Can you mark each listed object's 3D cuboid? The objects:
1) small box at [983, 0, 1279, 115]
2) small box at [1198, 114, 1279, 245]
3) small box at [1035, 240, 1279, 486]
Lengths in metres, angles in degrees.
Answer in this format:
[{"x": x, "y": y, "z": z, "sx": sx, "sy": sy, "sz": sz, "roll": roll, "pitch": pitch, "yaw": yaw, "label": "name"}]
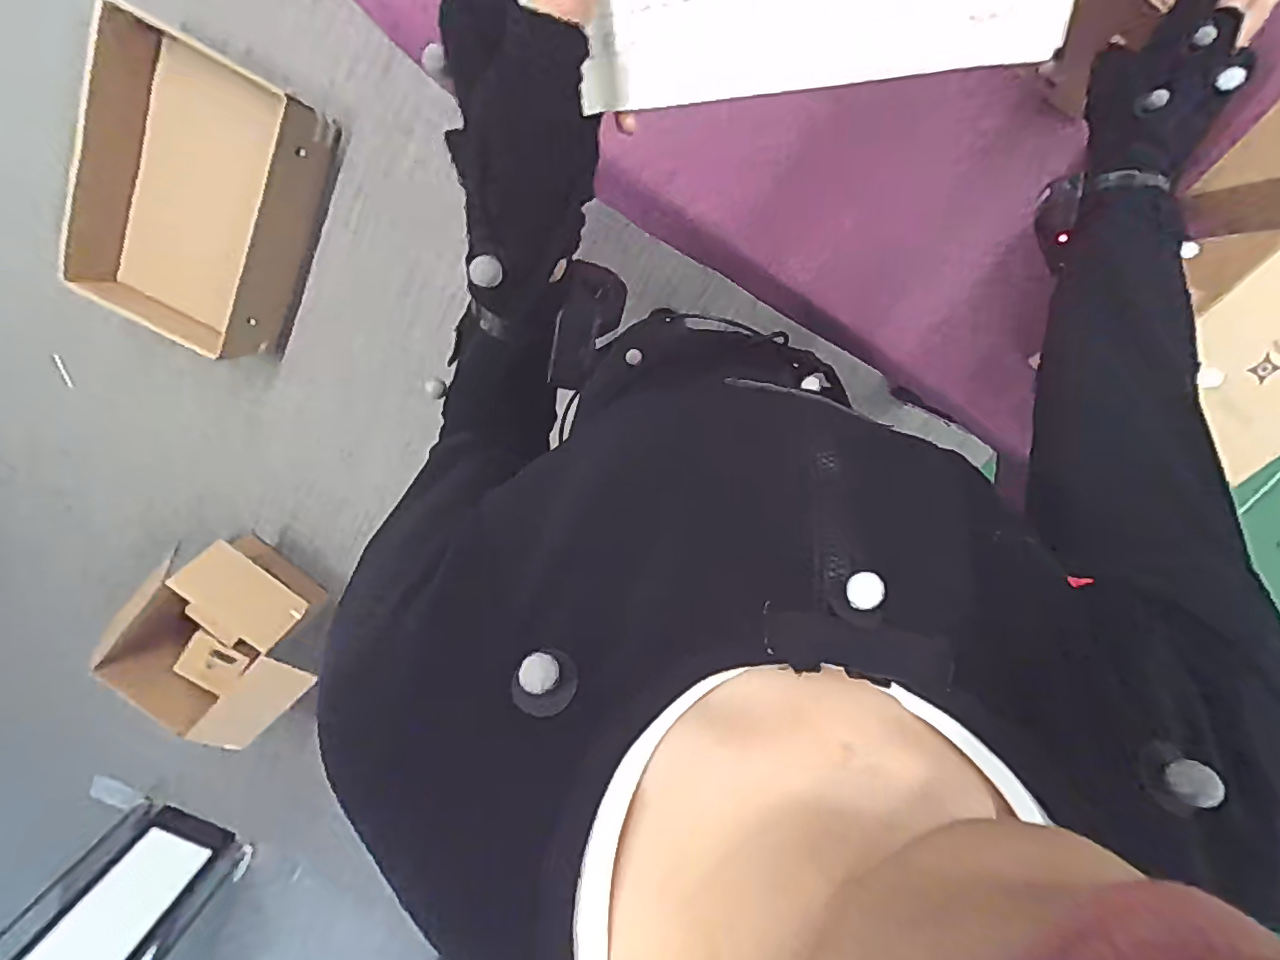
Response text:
[{"x": 0.451, "y": -0.466, "z": 0.465, "sx": 0.168, "sy": 0.176, "sz": 0.179, "roll": 33, "pitch": 109, "yaw": -7, "label": "small box"}, {"x": 0.713, "y": -0.301, "z": 0.505, "sx": 0.168, "sy": 0.176, "sz": 0.179, "roll": 37, "pitch": 107, "yaw": -8, "label": "small box"}, {"x": 0.584, "y": -0.130, "z": 0.573, "sx": 0.168, "sy": 0.176, "sz": 0.179, "roll": 40, "pitch": 107, "yaw": -9, "label": "small box"}]
